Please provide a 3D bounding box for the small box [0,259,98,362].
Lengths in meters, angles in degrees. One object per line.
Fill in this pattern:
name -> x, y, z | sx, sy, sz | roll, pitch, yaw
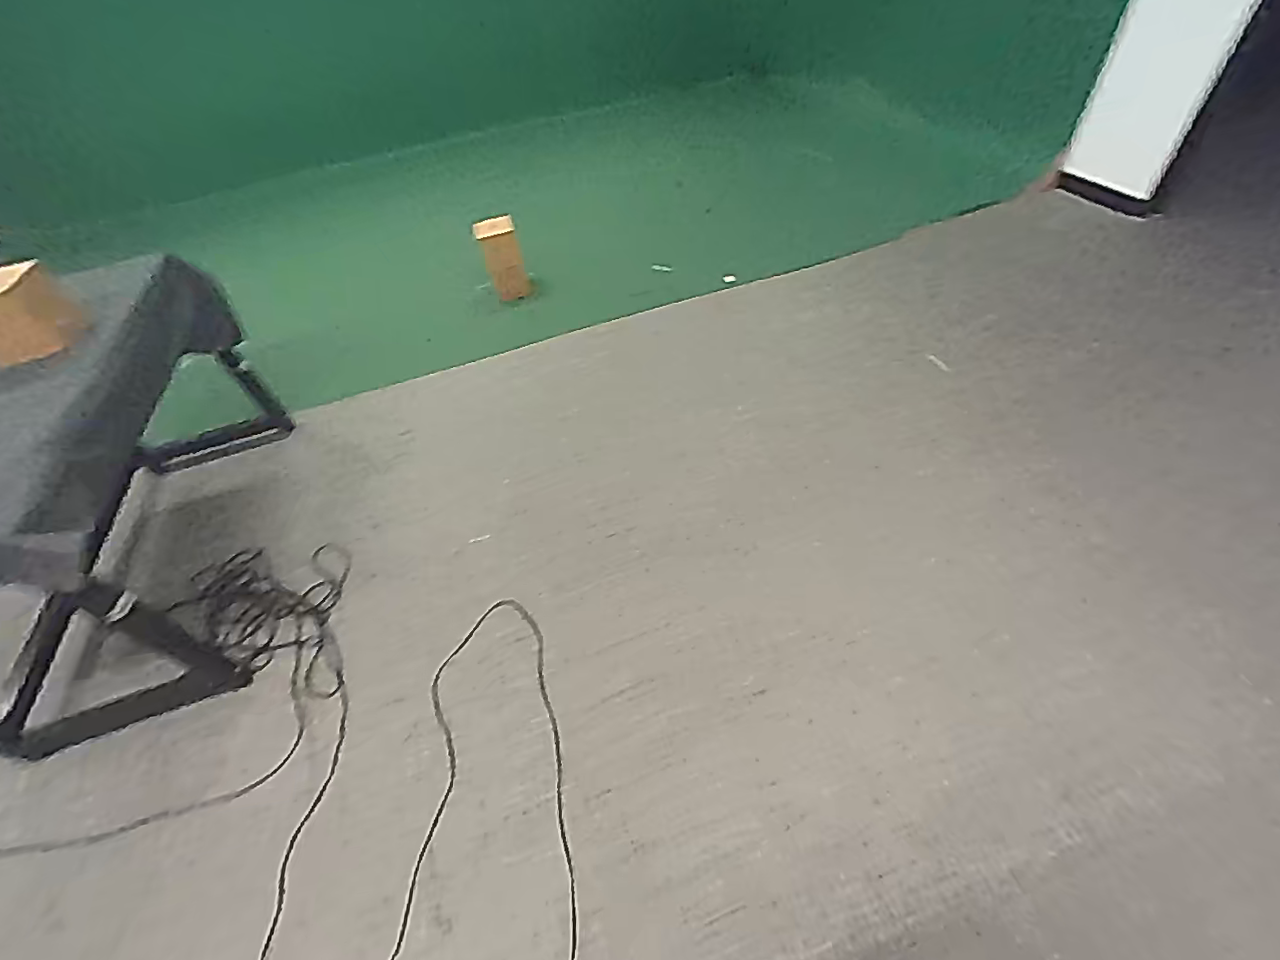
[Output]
small box -> -1.539, -0.419, 1.350 | 0.179, 0.176, 0.168 | -17, 50, -6

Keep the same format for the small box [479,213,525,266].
small box -> -0.655, -1.141, 2.579 | 0.168, 0.176, 0.179 | -17, 49, -5
